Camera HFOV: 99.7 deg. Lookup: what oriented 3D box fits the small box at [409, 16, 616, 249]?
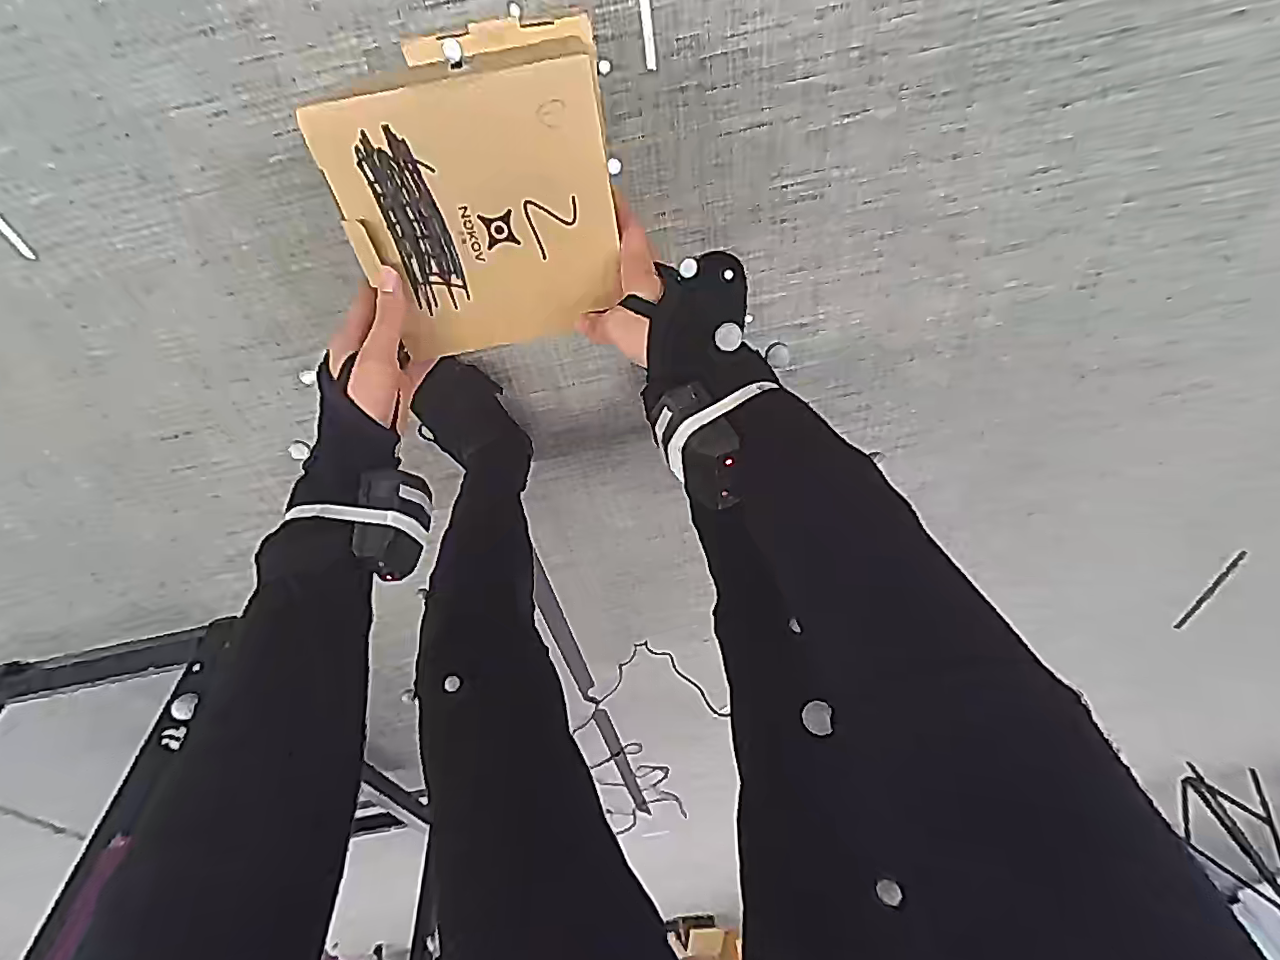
[{"bbox_3d":[-0.119,-0.374,0.581,0.168,0.176,0.179,-8,132,-1],"label":"small box"}]
